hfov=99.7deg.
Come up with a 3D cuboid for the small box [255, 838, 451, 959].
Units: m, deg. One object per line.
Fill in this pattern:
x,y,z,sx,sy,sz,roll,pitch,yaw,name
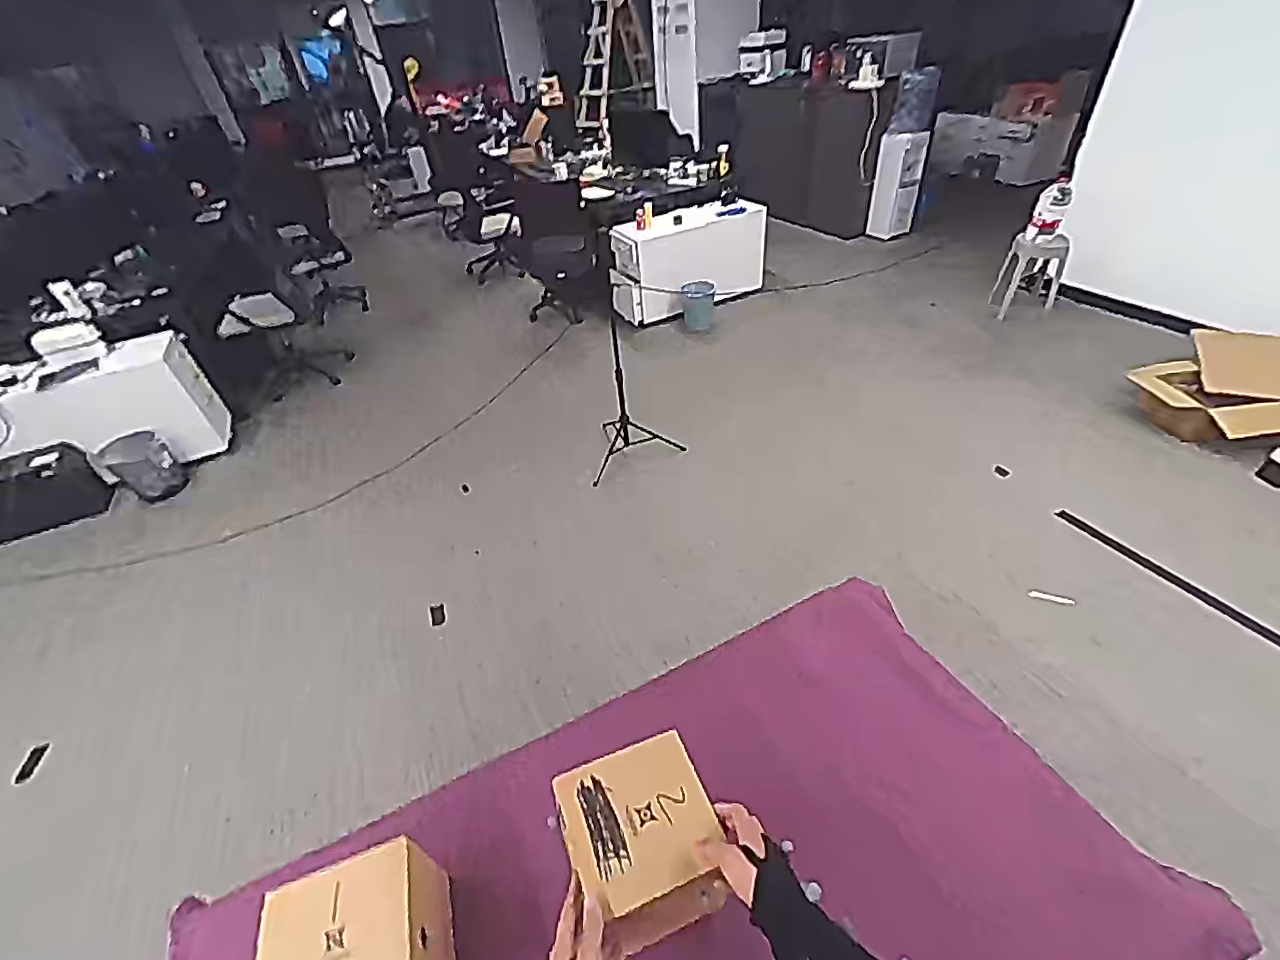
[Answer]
-0.331,0.577,0.645,0.168,0.176,0.179,-17,41,-13,small box
